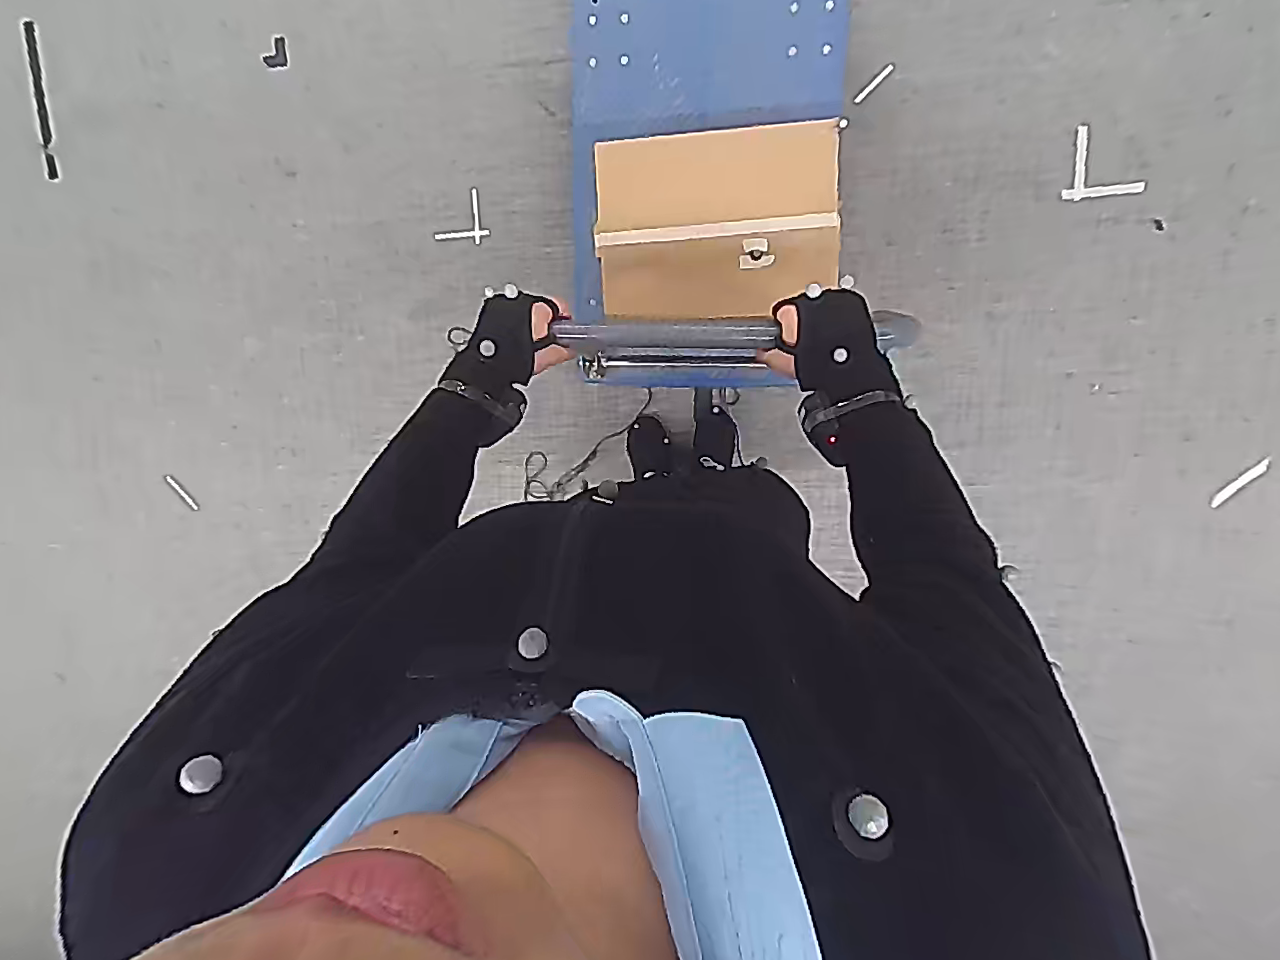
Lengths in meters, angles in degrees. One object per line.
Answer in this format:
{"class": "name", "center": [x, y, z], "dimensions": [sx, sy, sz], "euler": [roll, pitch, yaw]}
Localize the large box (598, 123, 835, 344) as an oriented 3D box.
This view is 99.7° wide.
{"class": "large box", "center": [0.145, -0.455, 1.082], "dimensions": [0.408, 0.320, 0.320], "euler": [-2, 100, 6]}
